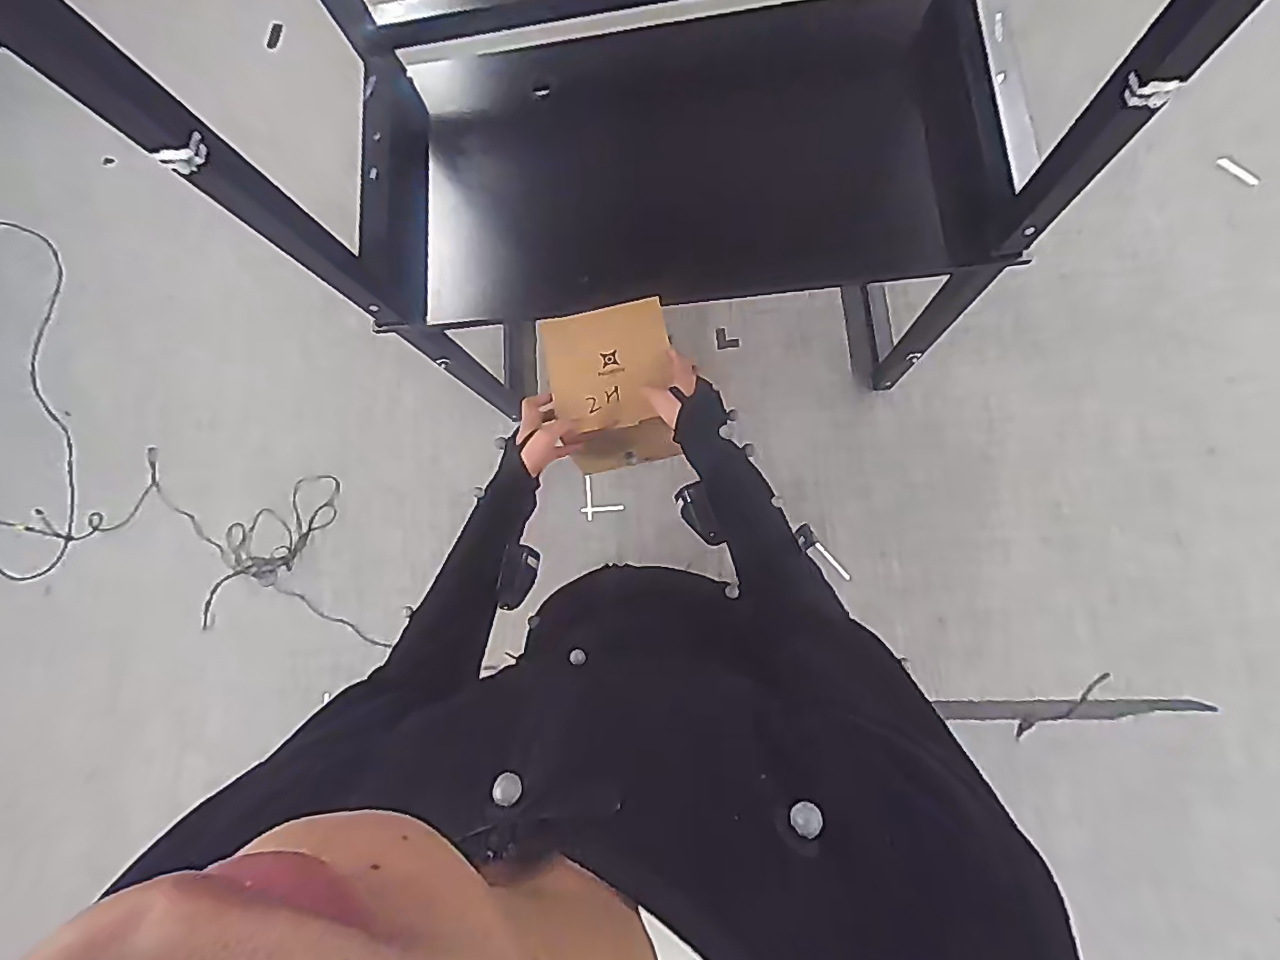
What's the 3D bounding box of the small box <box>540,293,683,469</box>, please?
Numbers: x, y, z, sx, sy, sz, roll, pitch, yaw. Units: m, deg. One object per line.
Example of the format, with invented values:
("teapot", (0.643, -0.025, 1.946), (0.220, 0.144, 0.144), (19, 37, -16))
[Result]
("small box", (-0.035, -0.133, 0.779), (0.168, 0.176, 0.179), (-12, 74, 2))
